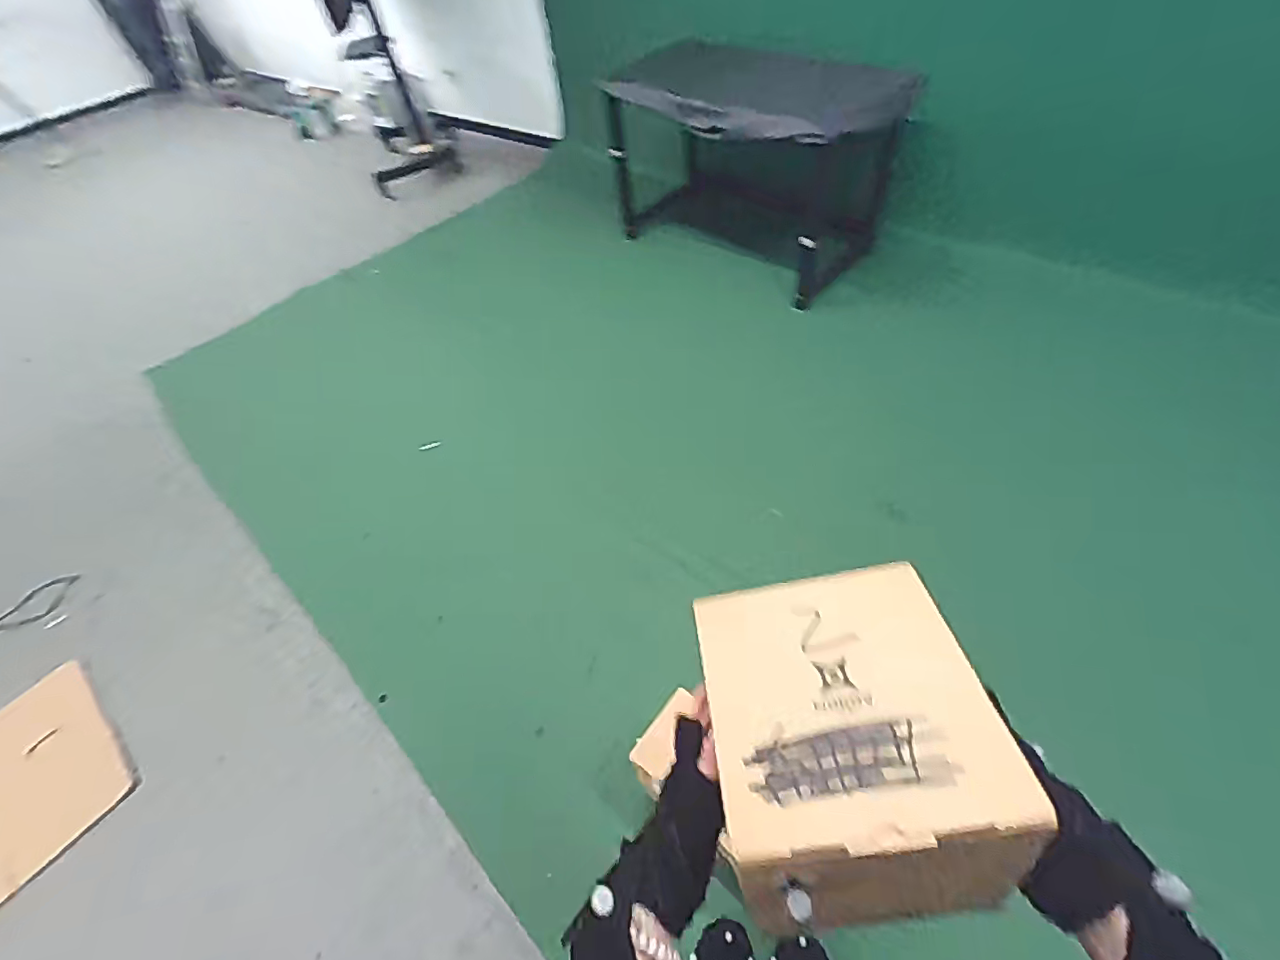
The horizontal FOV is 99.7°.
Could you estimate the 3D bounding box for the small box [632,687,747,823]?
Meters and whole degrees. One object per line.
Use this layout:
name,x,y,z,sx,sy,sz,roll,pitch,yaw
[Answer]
small box,0.105,0.575,1.128,0.168,0.176,0.179,30,61,28
